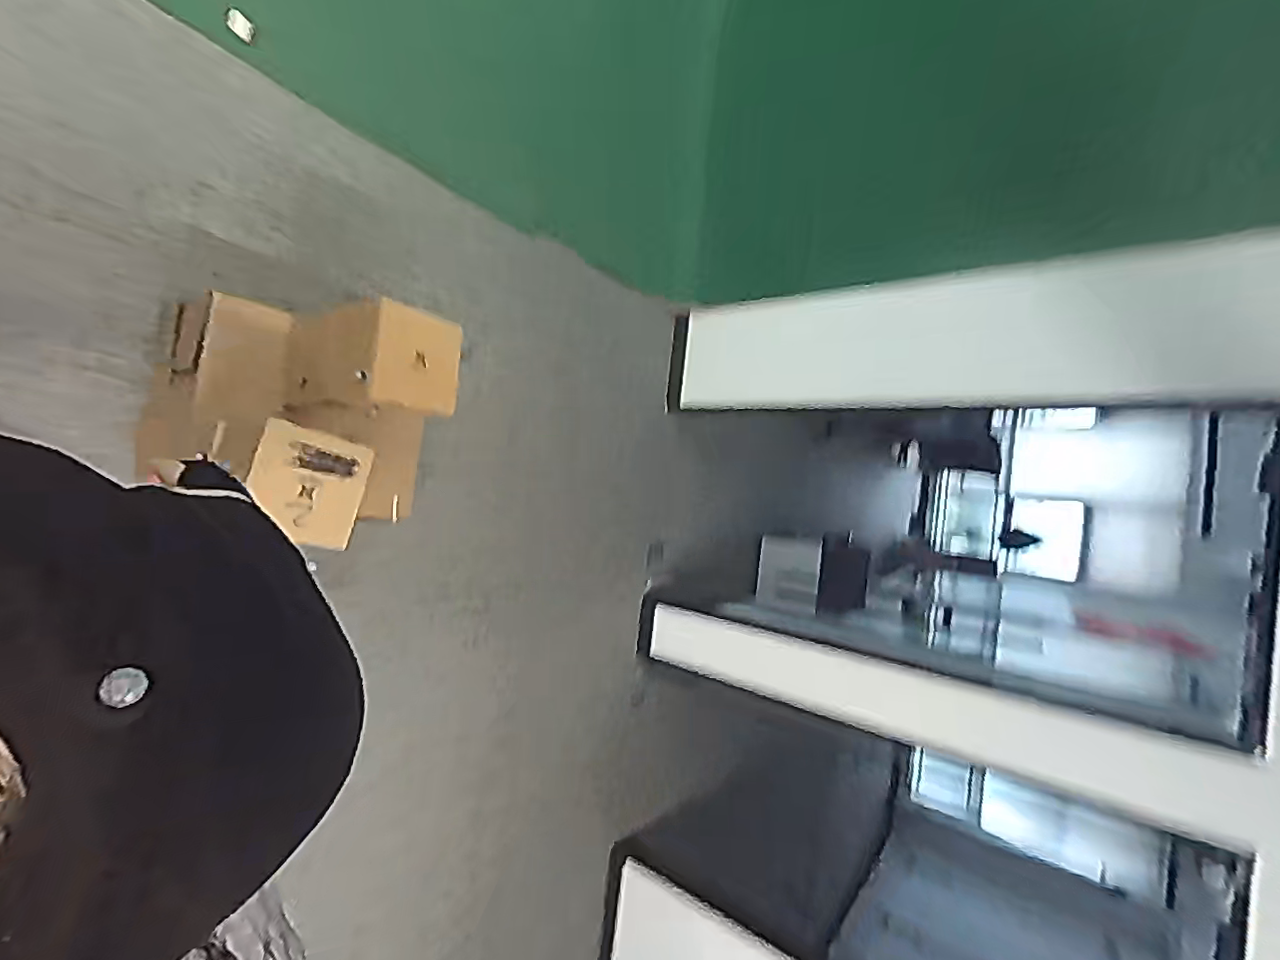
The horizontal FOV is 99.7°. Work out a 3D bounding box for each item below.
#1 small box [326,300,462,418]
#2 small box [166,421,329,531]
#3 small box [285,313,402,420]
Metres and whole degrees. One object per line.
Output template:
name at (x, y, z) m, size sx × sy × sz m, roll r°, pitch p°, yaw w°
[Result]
small box at (-0.463, -0.217, 1.016) m, size 0.168 × 0.176 × 0.179 m, roll 8°, pitch 88°, yaw -55°
small box at (-0.708, -0.008, 0.980) m, size 0.179 × 0.176 × 0.168 m, roll 17°, pitch 81°, yaw -54°
small box at (-0.598, -0.223, 1.107) m, size 0.168 × 0.176 × 0.179 m, roll 7°, pitch 88°, yaw -56°
